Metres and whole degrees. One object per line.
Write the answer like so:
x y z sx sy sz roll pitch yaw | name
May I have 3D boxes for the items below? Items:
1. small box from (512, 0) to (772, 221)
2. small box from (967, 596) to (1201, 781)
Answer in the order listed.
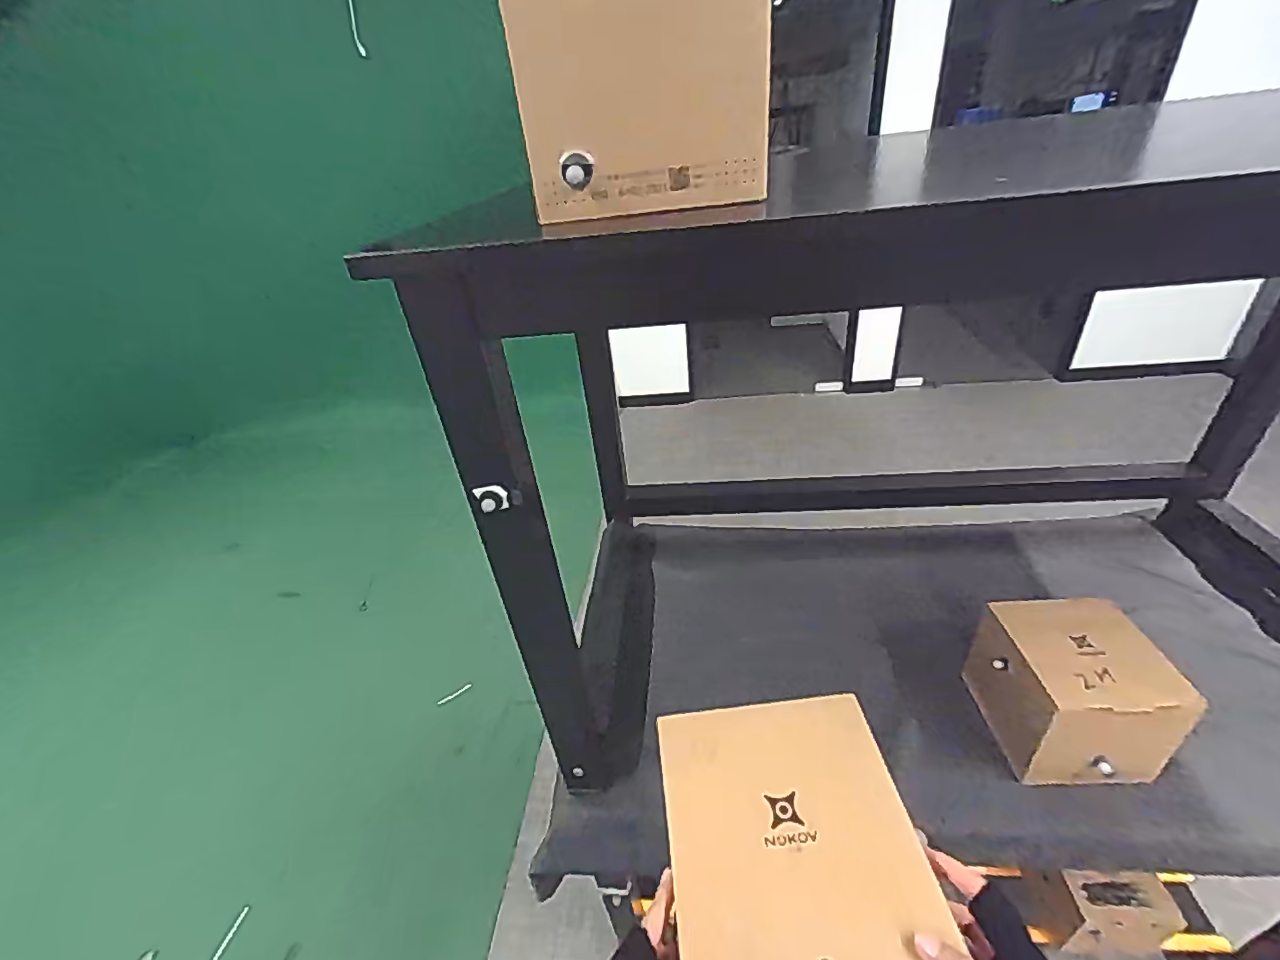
0.008 -0.308 0.424 0.168 0.176 0.179 -4 32 3 | small box
0.587 0.285 0.751 0.168 0.176 0.179 -4 32 6 | small box
